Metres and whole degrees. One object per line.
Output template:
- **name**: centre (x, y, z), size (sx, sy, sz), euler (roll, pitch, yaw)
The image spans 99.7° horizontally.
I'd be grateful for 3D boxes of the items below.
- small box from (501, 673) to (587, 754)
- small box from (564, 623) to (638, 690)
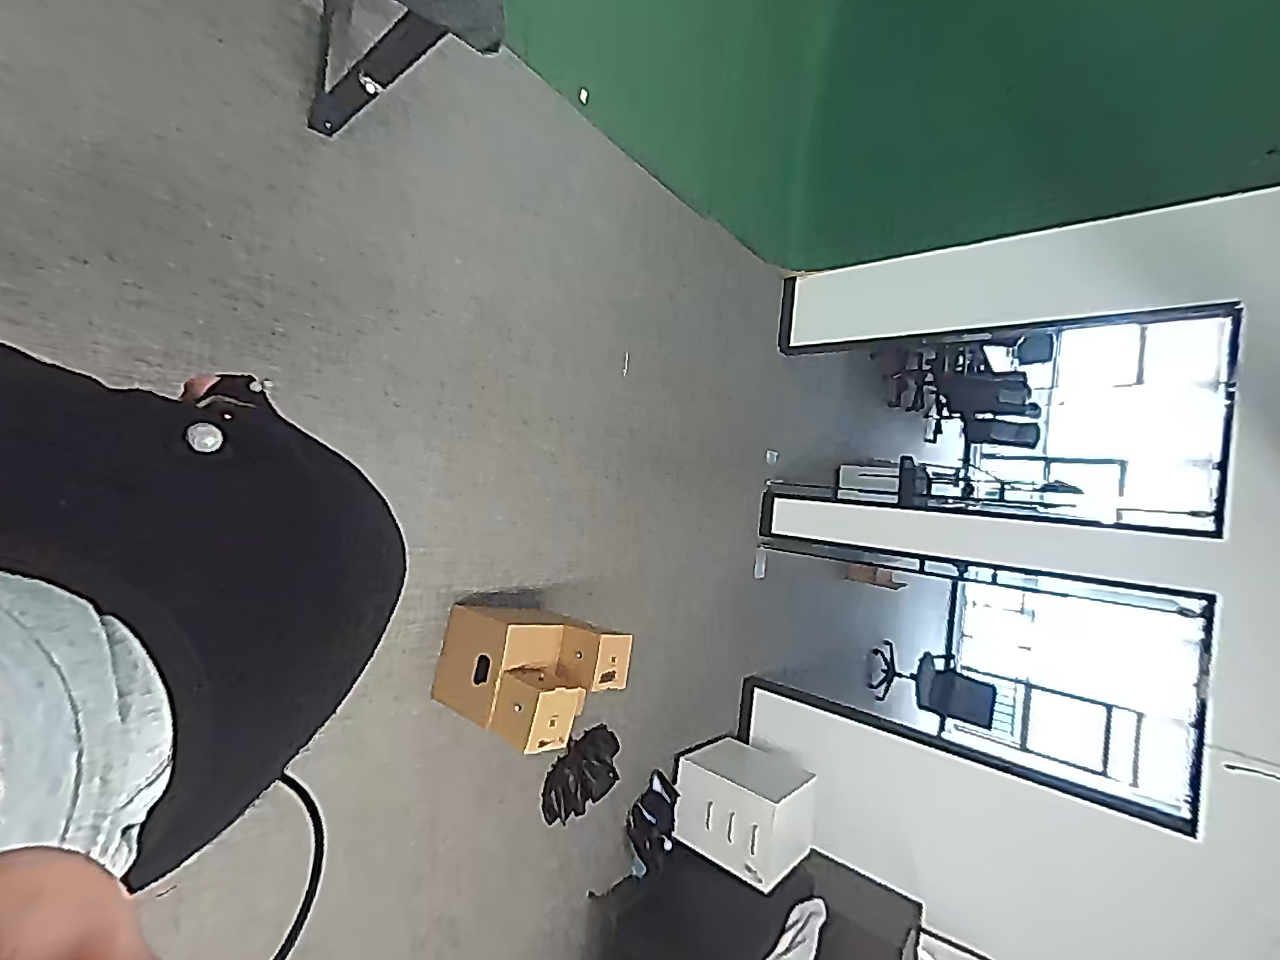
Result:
- **small box**: centre (-0.287, 0.681, 1.602), size (0.168, 0.176, 0.179), euler (20, 78, -51)
- **small box**: centre (-0.132, 0.580, 1.788), size (0.168, 0.176, 0.179), euler (20, 74, -50)
